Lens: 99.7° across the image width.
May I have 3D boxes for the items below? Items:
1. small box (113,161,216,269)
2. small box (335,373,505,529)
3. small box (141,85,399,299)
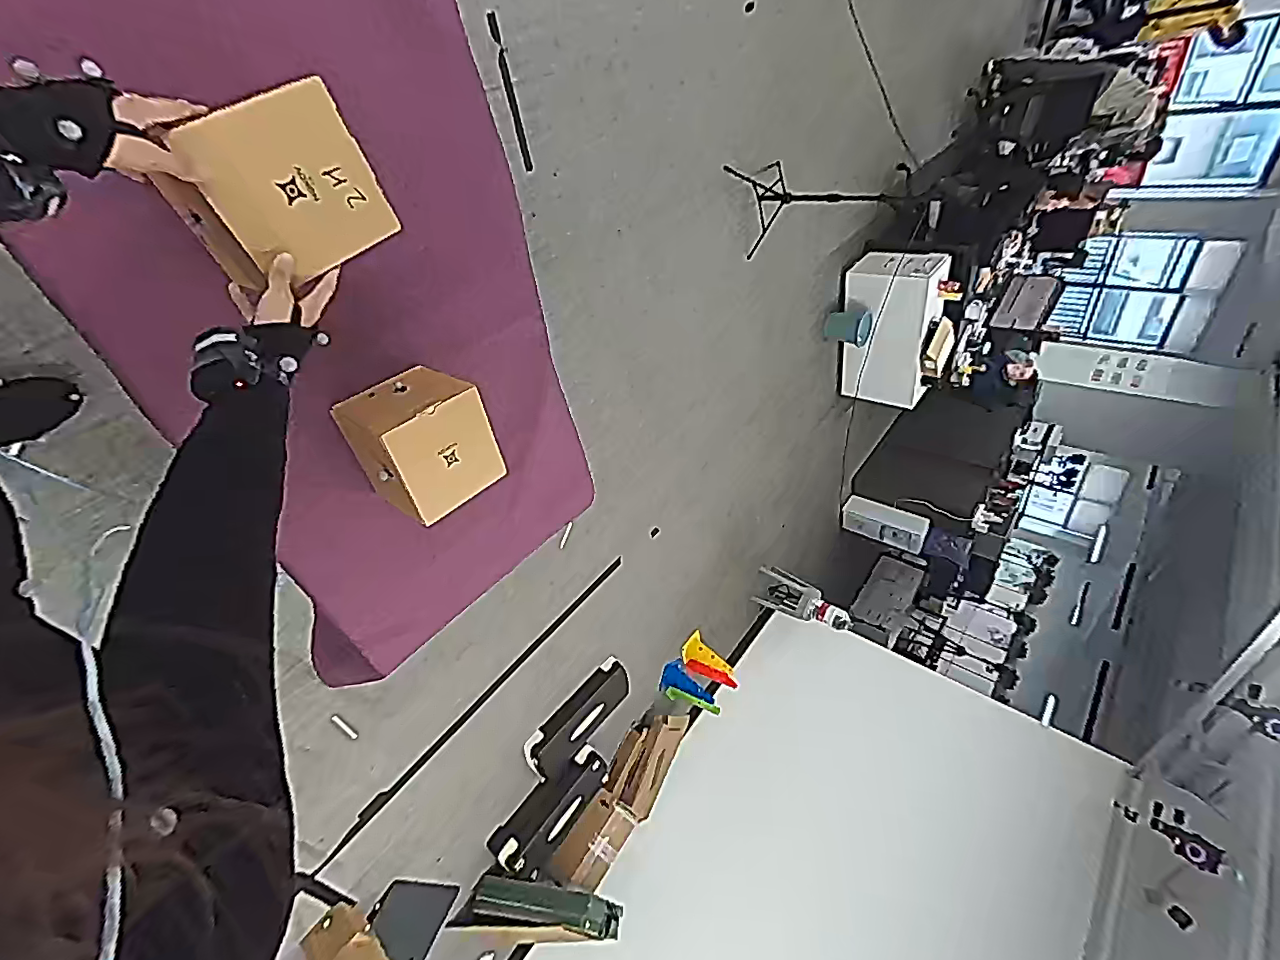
[{"bbox_3d":[-0.860,-0.533,1.052,0.168,0.176,0.179,-44,140,-30],"label":"small box"},{"bbox_3d":[-0.359,-0.056,0.892,0.168,0.176,0.179,-40,135,-33],"label":"small box"},{"bbox_3d":[-0.437,-0.337,0.642,0.179,0.176,0.168,-48,140,-27],"label":"small box"}]
